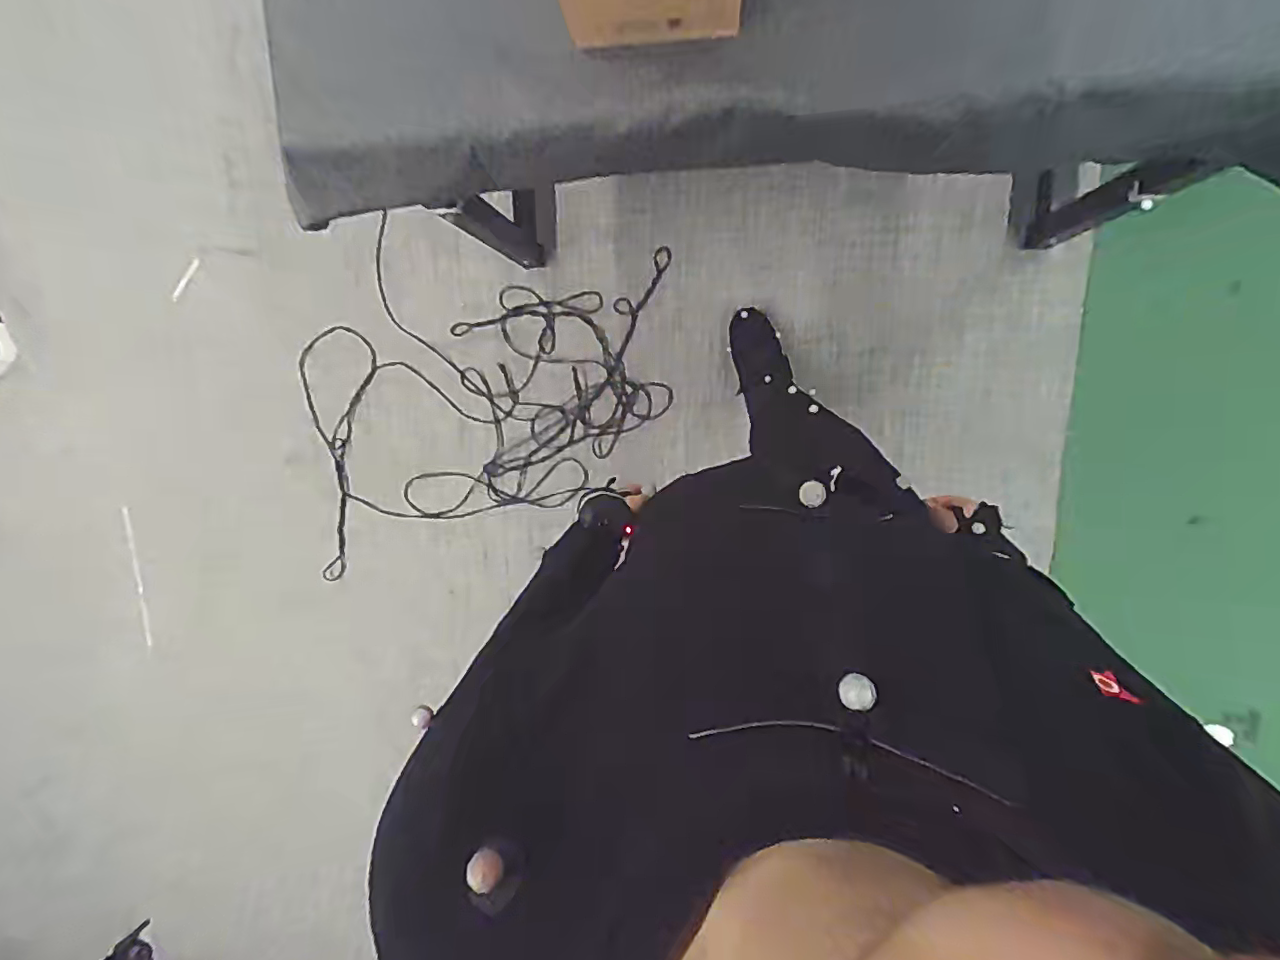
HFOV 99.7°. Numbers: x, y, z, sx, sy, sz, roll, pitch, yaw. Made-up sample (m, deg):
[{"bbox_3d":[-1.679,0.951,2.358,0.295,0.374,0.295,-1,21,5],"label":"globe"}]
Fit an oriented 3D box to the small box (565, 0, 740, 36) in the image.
[{"bbox_3d":[0.006,-0.515,0.453,0.168,0.176,0.179,1,98,7],"label":"small box"}]
